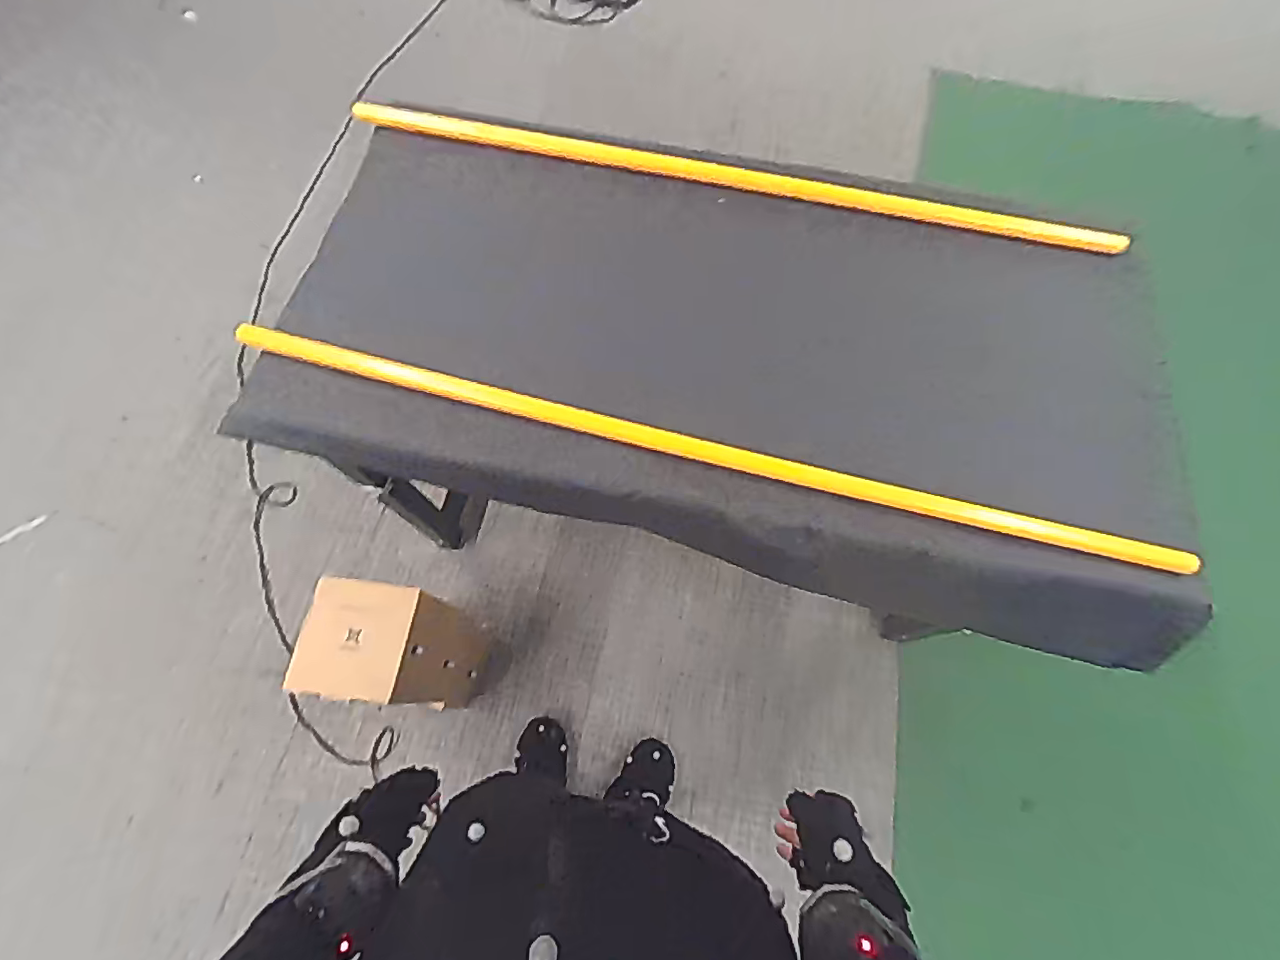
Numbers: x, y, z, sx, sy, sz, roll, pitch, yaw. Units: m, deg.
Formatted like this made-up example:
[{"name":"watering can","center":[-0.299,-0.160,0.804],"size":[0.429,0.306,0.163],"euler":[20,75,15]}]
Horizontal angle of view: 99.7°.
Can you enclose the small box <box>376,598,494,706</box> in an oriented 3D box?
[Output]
[{"name":"small box","center":[-0.444,0.385,1.211],"size":[0.168,0.176,0.179],"euler":[19,71,7]}]
